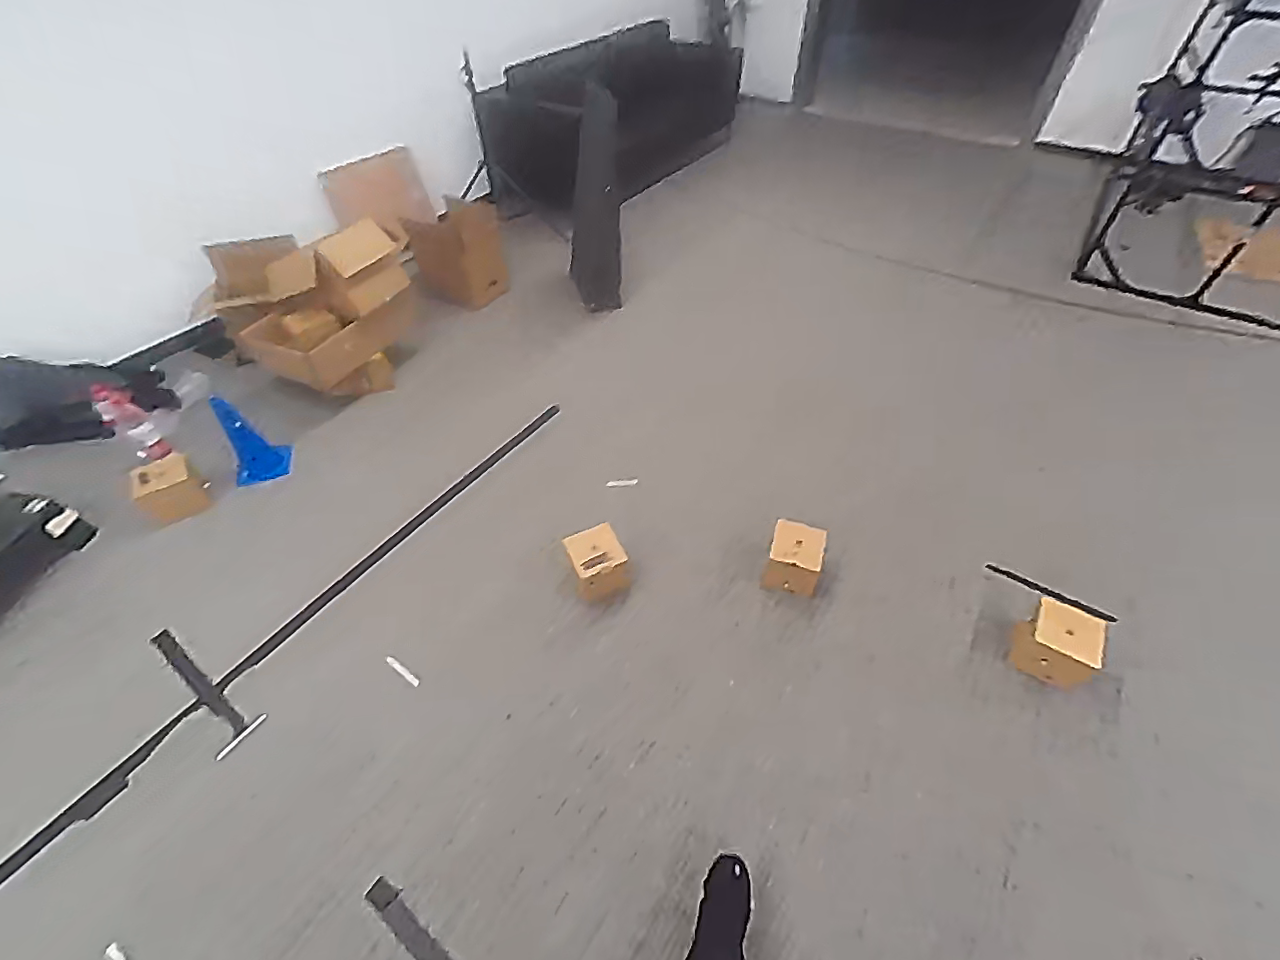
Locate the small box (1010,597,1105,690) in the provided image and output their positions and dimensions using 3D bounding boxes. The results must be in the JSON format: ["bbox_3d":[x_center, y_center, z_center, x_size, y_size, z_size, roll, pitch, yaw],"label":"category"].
[{"bbox_3d":[1.244,0.492,1.619,0.168,0.176,0.179,26,52,22],"label":"small box"}]

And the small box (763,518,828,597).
[{"bbox_3d":[0.523,0.264,1.832,0.168,0.176,0.179,15,50,14],"label":"small box"}]
